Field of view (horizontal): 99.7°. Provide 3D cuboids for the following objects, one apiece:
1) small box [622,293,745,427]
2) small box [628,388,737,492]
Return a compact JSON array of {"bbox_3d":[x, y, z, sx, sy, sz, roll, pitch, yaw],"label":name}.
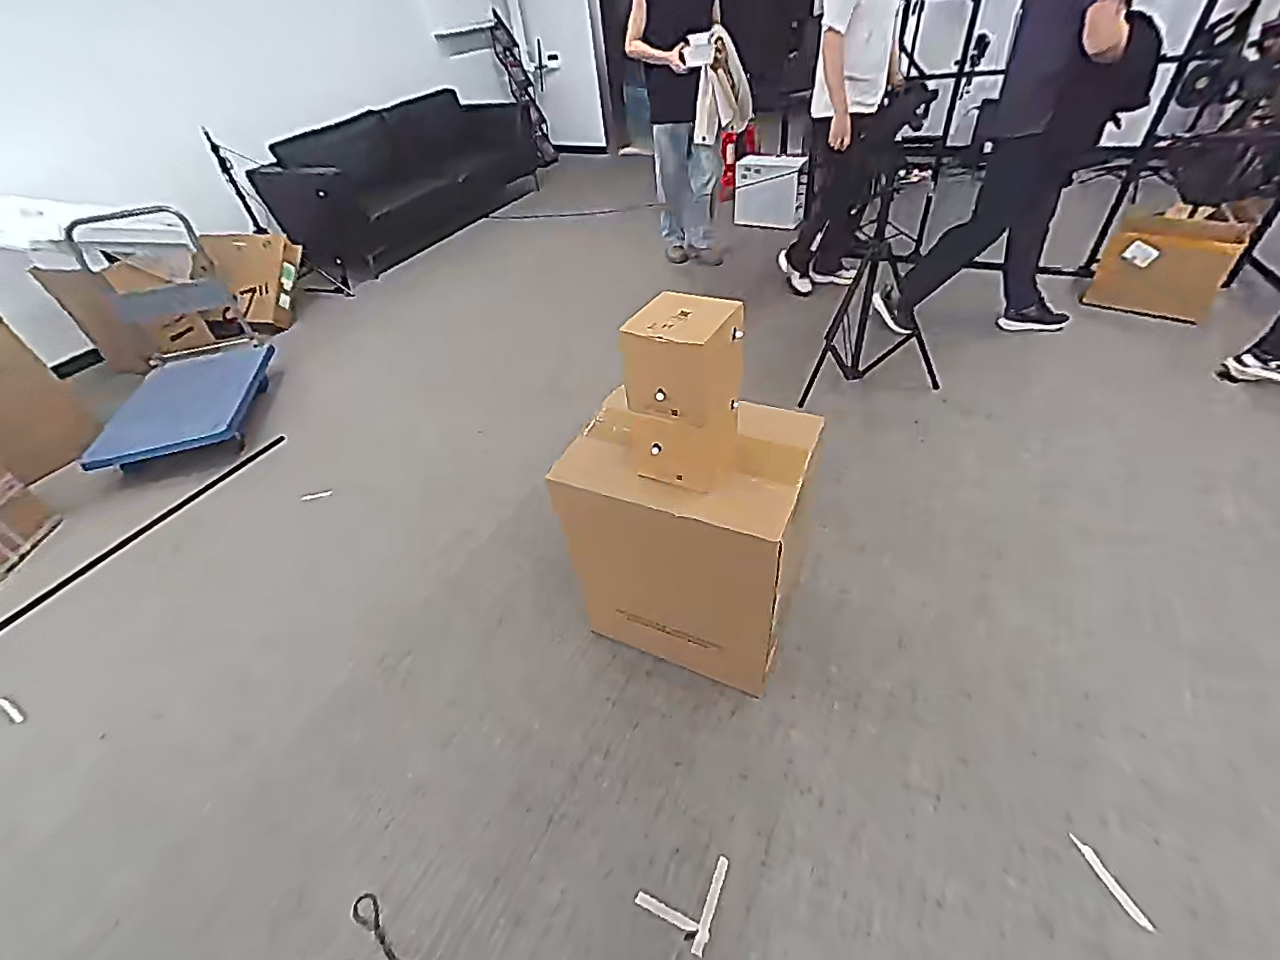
[{"bbox_3d":[0.085,-0.227,1.012,0.168,0.176,0.179,17,47,26],"label":"small box"},{"bbox_3d":[0.096,-0.100,1.118,0.168,0.176,0.179,16,46,24],"label":"small box"}]
